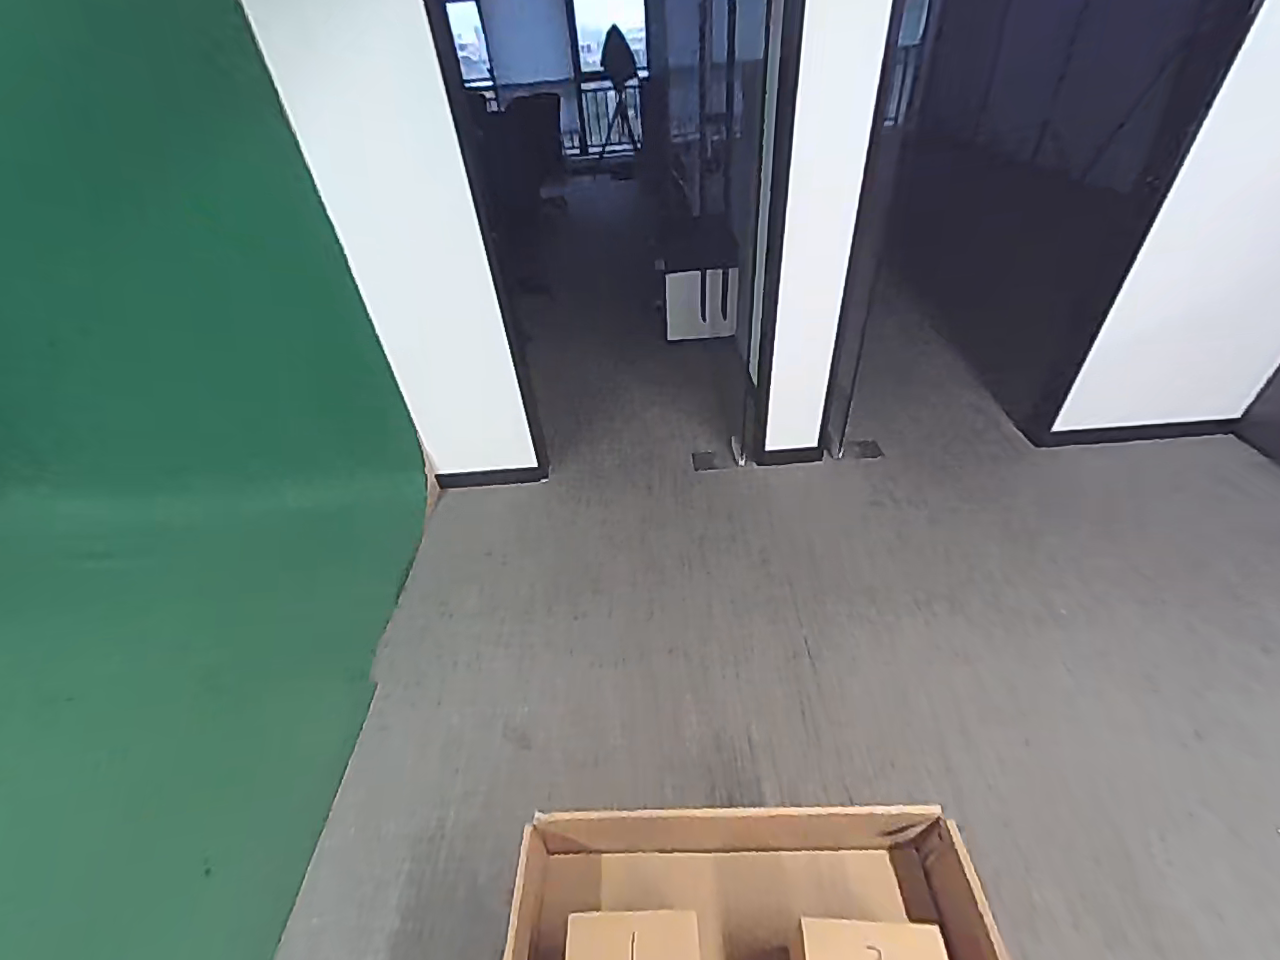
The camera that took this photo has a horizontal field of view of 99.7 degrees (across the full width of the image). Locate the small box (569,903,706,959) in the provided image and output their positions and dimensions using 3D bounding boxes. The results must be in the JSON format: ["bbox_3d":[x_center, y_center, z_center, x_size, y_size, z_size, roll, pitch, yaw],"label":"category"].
[{"bbox_3d":[0.003,0.658,0.674,0.168,0.176,0.179,-4,39,3],"label":"small box"}]
